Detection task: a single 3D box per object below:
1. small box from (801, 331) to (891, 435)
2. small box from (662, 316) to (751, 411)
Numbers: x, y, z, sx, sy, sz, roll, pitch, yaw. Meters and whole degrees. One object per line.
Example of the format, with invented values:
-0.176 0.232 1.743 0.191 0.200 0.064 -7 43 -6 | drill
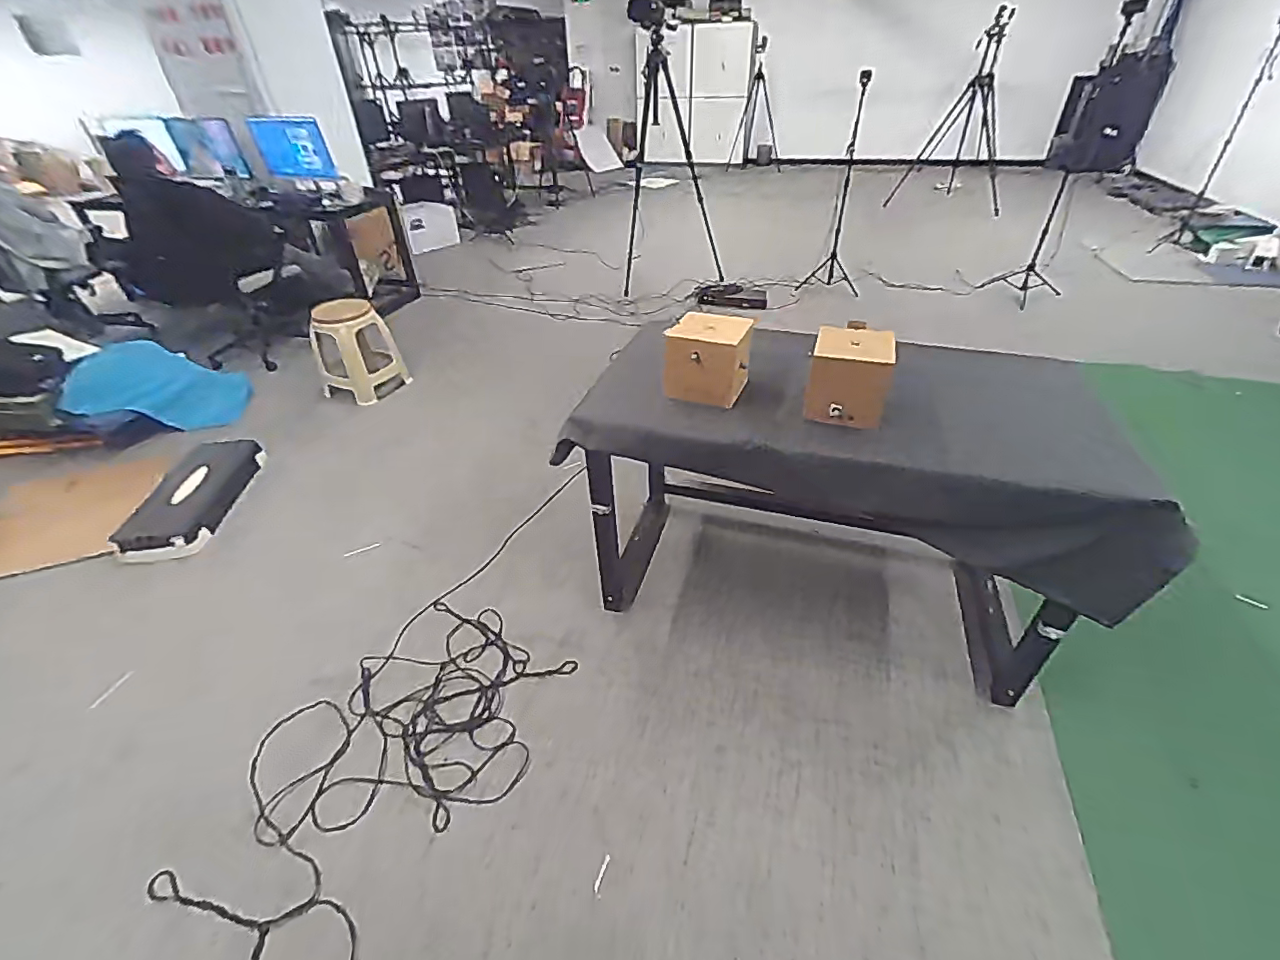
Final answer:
0.472 -0.227 1.249 0.168 0.176 0.179 10 39 16 | small box
0.164 -0.289 1.341 0.179 0.176 0.168 13 39 19 | small box
